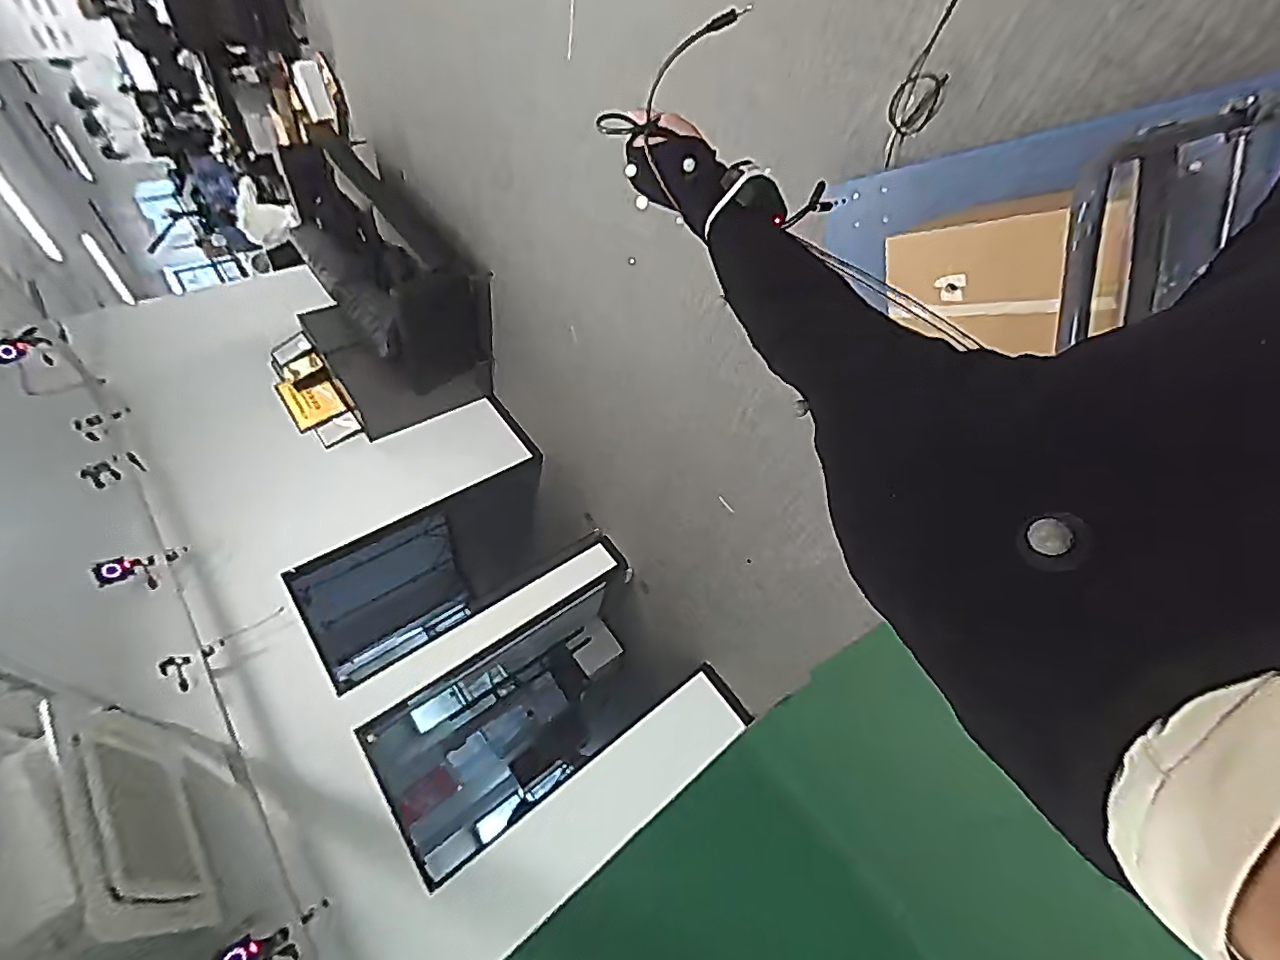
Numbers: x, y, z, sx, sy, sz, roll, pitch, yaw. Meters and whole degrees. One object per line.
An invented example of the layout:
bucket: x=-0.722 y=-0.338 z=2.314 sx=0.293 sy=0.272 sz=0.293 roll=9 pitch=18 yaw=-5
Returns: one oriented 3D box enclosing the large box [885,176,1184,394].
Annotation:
large box: x=0.780 y=-0.384 z=1.105 sx=0.408 sy=0.320 sz=0.320 roll=19 pitch=130 yaw=52
